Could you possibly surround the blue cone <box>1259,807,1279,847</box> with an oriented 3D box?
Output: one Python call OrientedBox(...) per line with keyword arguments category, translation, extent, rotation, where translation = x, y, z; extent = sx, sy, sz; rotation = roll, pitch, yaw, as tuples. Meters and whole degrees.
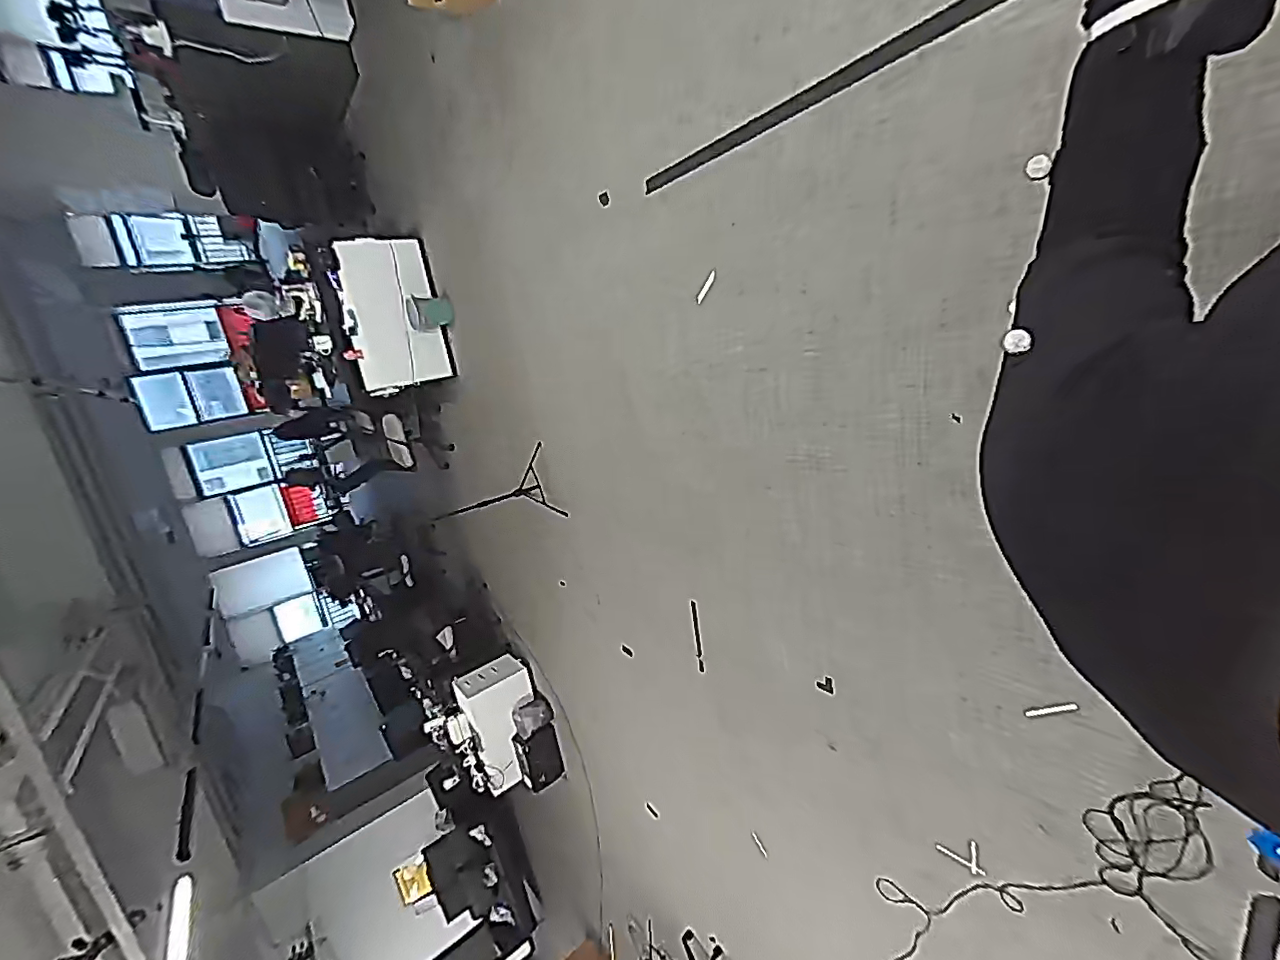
OrientedBox(category="blue cone", translation=(1.296, 0.779, 1.000), extent=(0.193, 0.380, 0.192), rotation=(35, 132, 40))
